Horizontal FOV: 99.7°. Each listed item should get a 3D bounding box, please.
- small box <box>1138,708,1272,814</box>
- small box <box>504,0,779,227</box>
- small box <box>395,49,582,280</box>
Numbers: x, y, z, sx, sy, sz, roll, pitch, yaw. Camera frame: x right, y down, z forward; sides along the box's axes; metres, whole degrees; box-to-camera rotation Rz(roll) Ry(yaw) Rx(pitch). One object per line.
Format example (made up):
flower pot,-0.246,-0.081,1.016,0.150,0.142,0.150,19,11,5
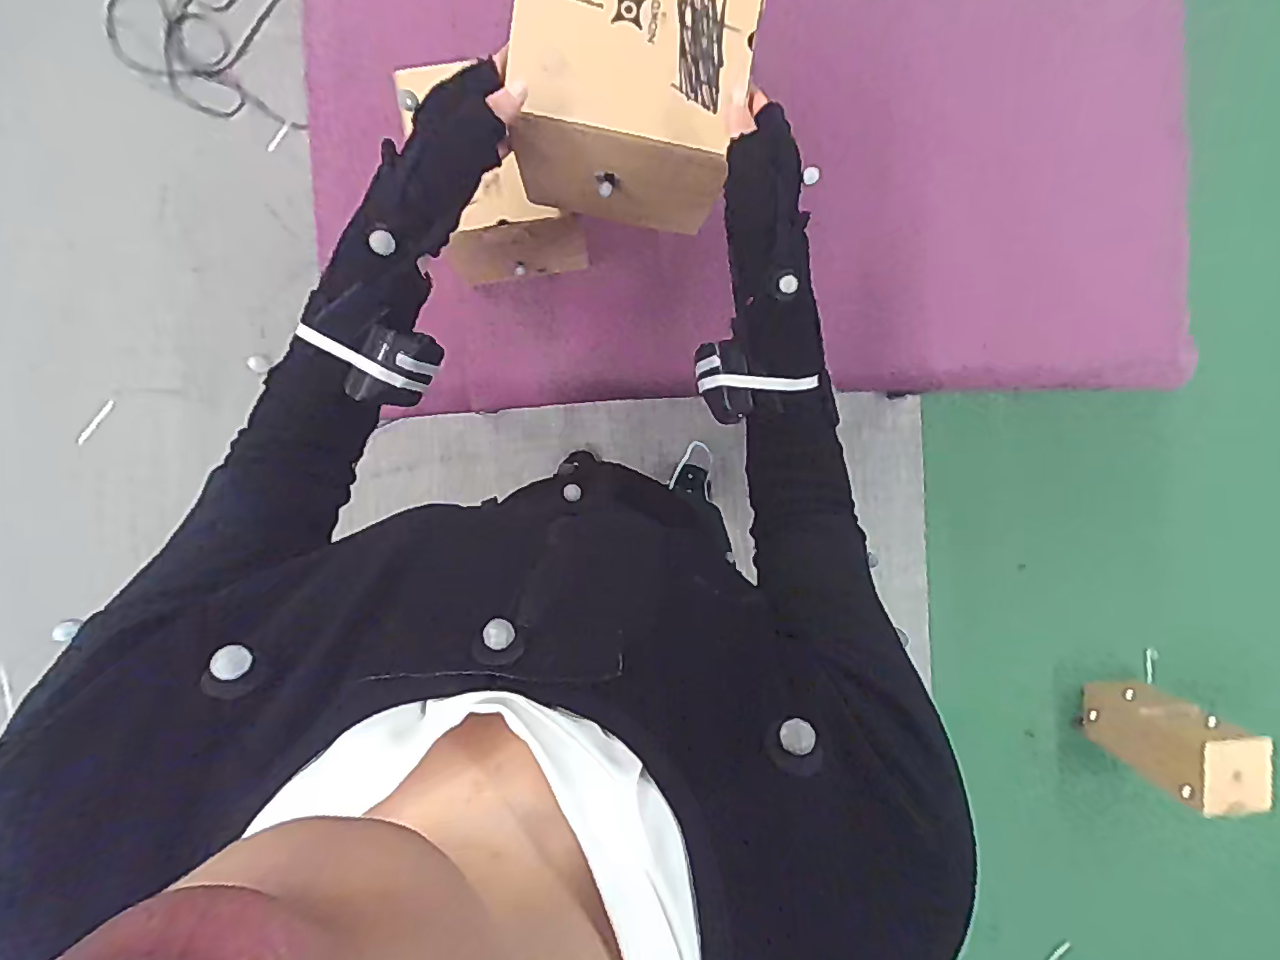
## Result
small box,1.384,0.682,1.335,0.168,0.176,0.179,-4,94,-2
small box,0.000,-0.337,0.455,0.179,0.176,0.168,12,93,-7
small box,-0.166,-0.362,0.646,0.168,0.176,0.179,-10,94,-2
